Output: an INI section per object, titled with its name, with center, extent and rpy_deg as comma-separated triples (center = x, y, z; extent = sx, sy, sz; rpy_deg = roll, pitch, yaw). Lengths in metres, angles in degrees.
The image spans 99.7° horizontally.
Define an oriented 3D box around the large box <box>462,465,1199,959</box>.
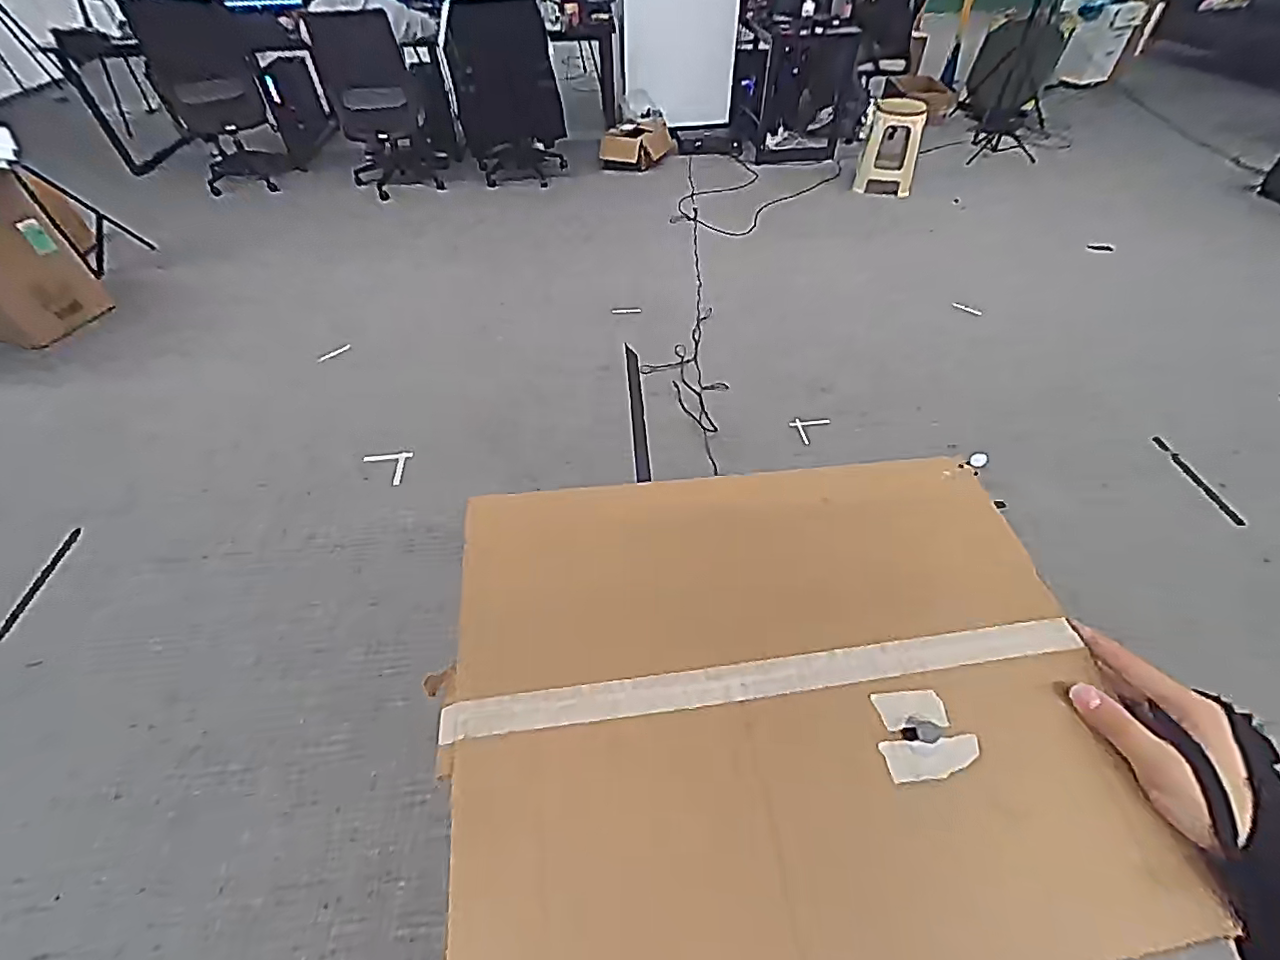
[large box]
center = 0.079, 0.216, 0.471
extent = 0.408, 0.320, 0.320
rpy_deg = -5, 56, -8
